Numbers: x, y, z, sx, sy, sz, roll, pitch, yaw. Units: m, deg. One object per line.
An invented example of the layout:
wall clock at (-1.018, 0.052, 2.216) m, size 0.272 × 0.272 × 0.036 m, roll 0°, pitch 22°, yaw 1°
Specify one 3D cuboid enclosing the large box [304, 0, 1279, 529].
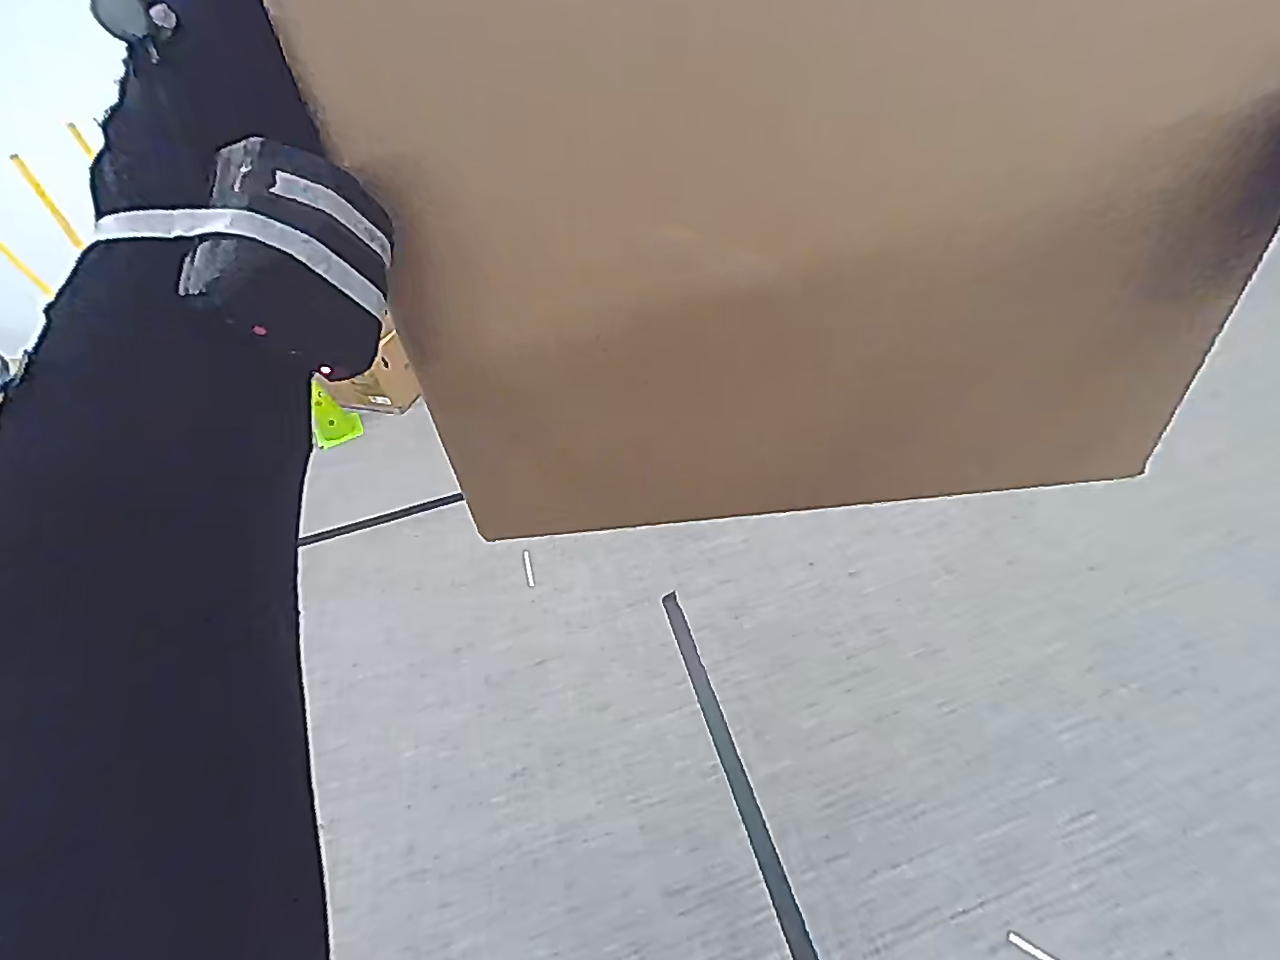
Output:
large box at (0.075, -0.194, 0.374) m, size 0.408 × 0.320 × 0.320 m, roll -6°, pitch 37°, yaw 2°
